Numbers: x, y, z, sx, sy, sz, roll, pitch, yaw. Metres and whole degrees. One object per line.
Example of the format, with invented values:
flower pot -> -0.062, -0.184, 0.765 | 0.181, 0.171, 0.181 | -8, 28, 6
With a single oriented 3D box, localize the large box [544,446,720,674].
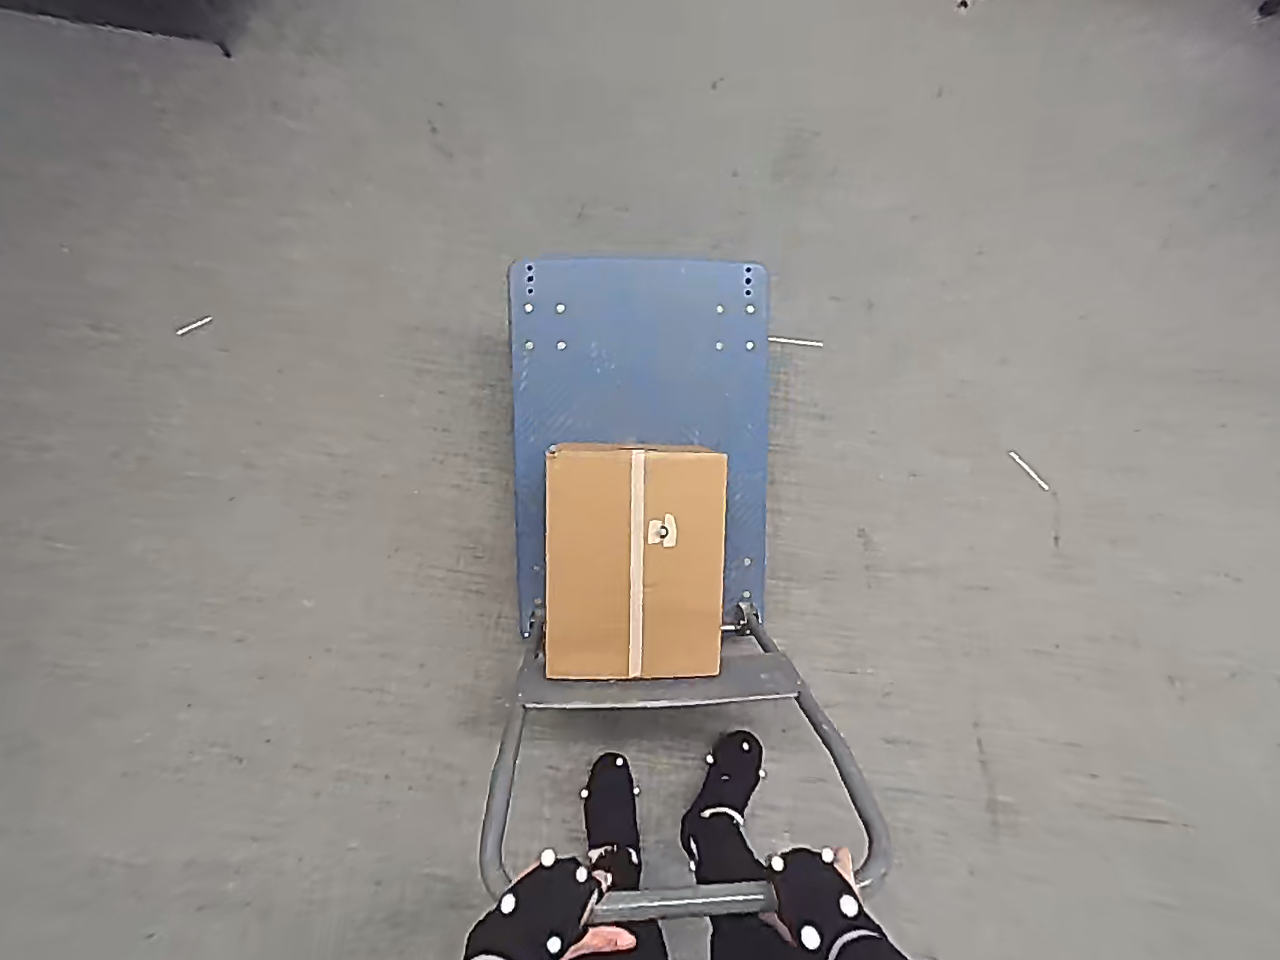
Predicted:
large box -> -0.021, 0.137, 1.104 | 0.320, 0.320, 0.408 | 0, 95, -5
